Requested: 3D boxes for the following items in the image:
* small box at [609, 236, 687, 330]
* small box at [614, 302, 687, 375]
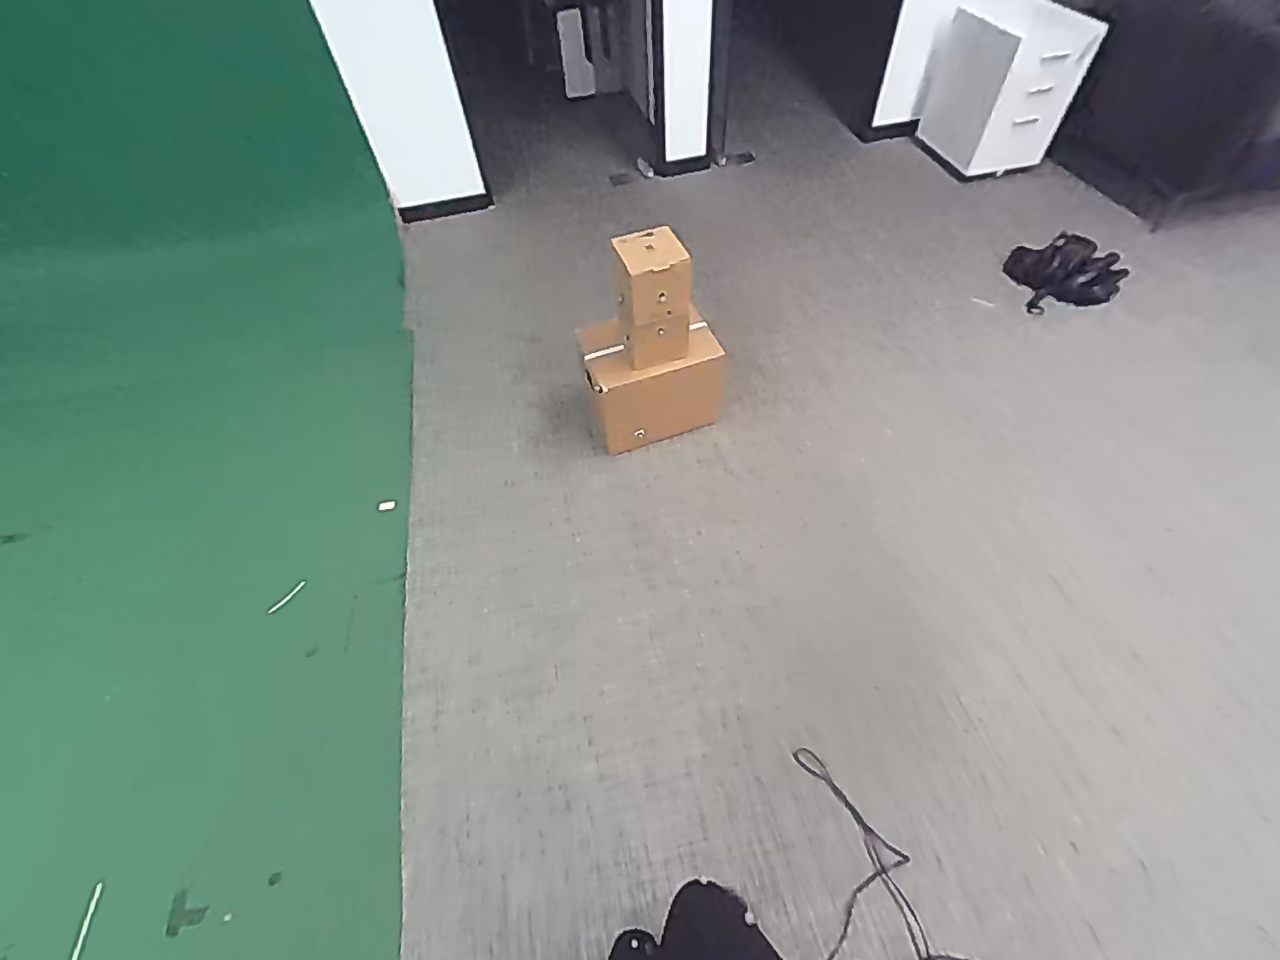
[{"bbox_3d":[0.024,-0.536,1.496,0.168,0.176,0.179,-17,56,-9],"label":"small box"},{"bbox_3d":[0.033,-0.442,1.629,0.179,0.176,0.168,-16,55,-10],"label":"small box"}]
